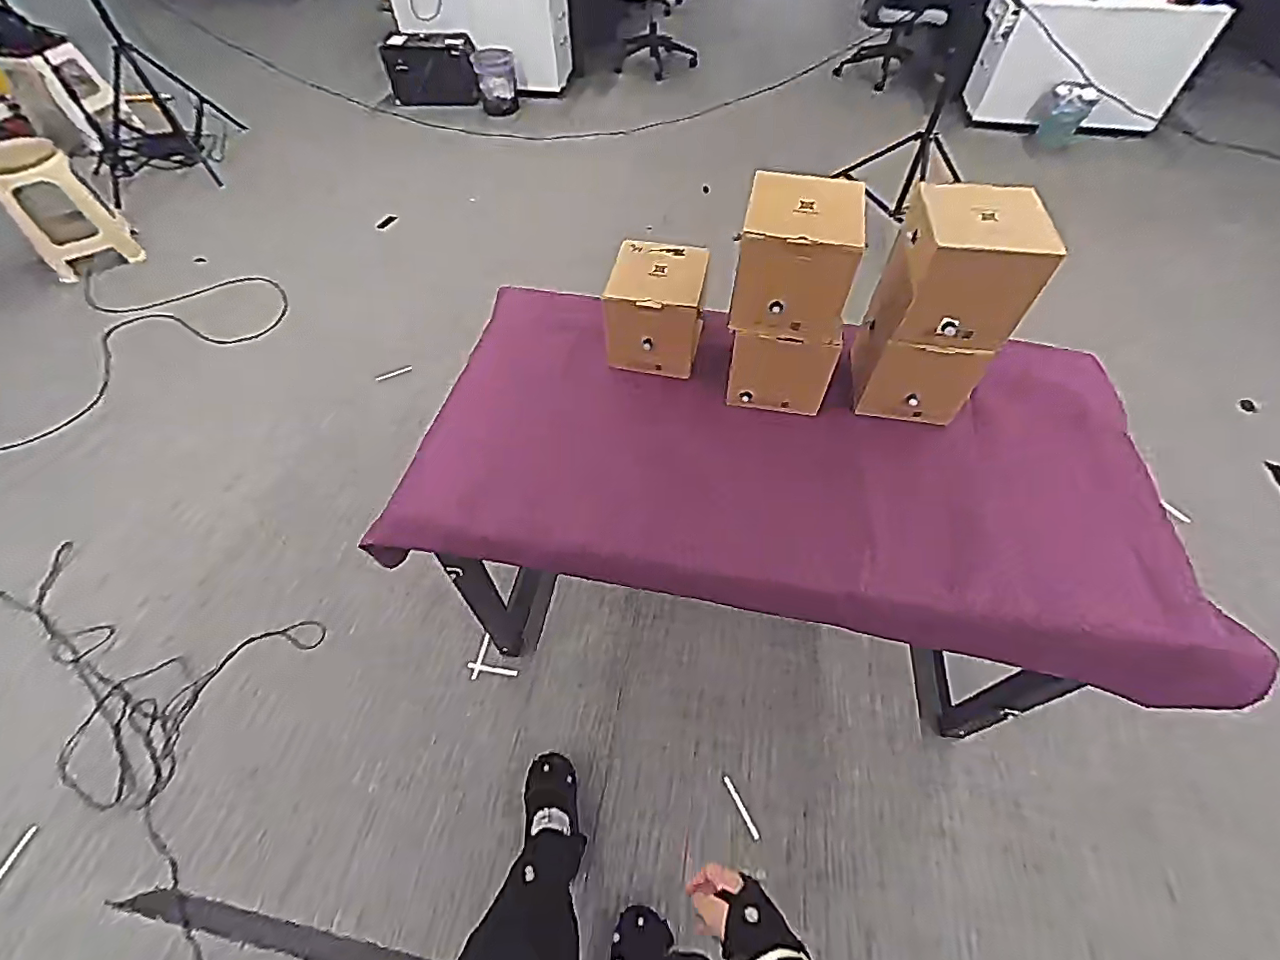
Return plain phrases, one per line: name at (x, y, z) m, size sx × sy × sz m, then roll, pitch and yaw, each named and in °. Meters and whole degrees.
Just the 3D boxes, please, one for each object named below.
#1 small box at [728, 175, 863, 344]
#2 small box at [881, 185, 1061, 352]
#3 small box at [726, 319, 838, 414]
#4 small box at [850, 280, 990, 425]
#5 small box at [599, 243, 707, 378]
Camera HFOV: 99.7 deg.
small box at (0.236, -0.342, 0.845) m, size 0.168 × 0.176 × 0.179 m, roll 10°, pitch 56°, yaw 7°
small box at (0.486, -0.322, 0.830) m, size 0.168 × 0.176 × 0.179 m, roll 6°, pitch 56°, yaw 5°
small box at (0.250, -0.241, 0.973) m, size 0.168 × 0.176 × 0.179 m, roll 8°, pitch 55°, yaw 6°
small box at (0.480, -0.225, 0.960) m, size 0.168 × 0.176 × 0.179 m, roll 8°, pitch 56°, yaw 7°
small box at (0.029, -0.317, 1.026) m, size 0.168 × 0.176 × 0.179 m, roll 10°, pitch 57°, yaw 7°
